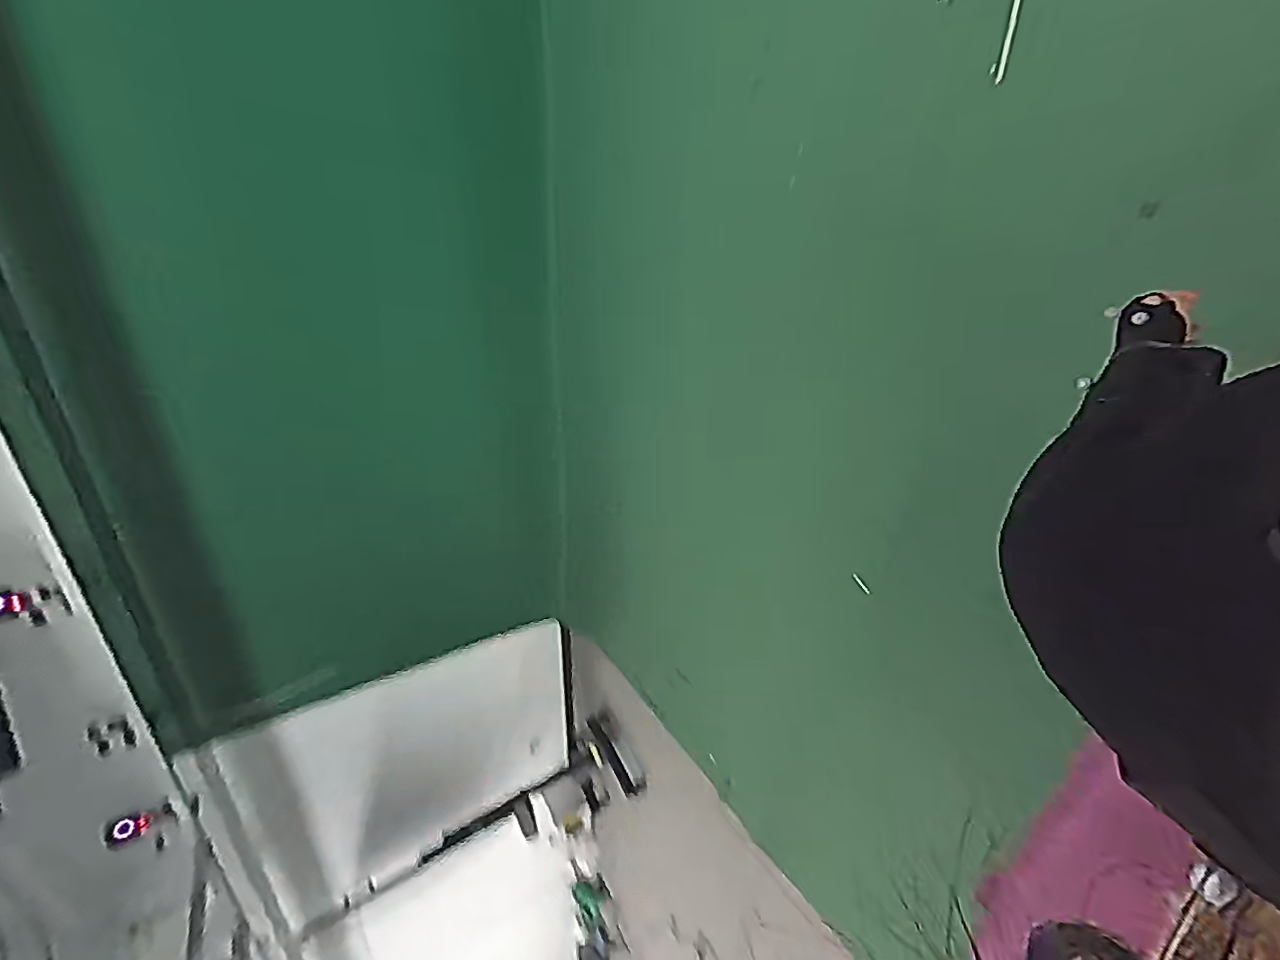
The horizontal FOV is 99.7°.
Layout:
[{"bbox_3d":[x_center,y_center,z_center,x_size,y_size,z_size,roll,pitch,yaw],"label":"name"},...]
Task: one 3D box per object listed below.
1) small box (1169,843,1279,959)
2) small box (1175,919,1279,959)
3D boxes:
[{"bbox_3d":[0.703,0.524,0.562,0.179,0.176,0.168,31,127,49],"label":"small box"},{"bbox_3d":[0.564,0.561,0.482,0.168,0.176,0.179,32,129,48],"label":"small box"}]
